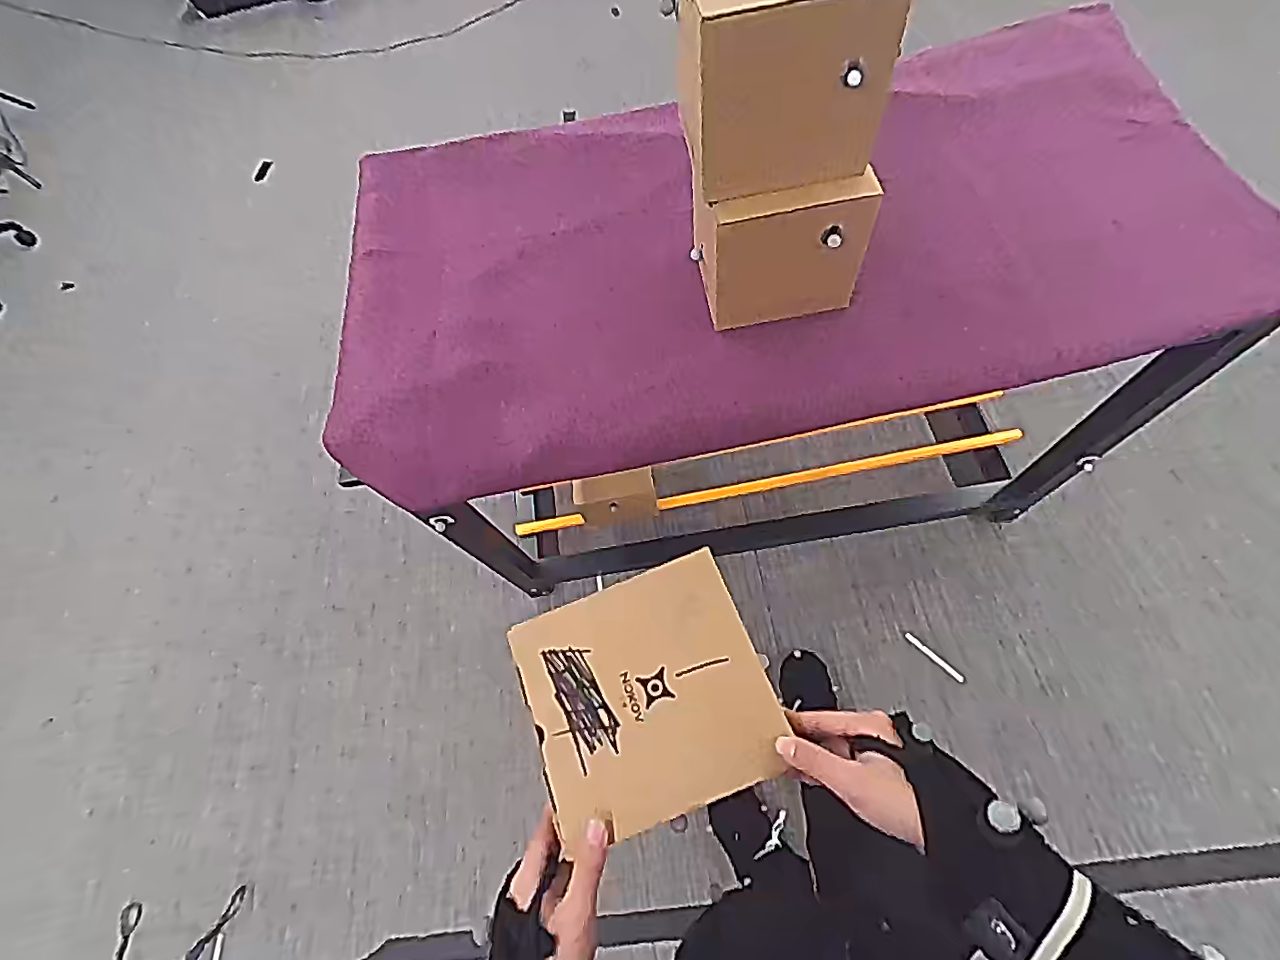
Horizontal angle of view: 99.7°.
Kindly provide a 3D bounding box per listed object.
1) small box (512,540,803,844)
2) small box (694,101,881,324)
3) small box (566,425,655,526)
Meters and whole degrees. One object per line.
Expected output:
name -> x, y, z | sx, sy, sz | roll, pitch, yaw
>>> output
small box -> 0.016, 0.179, 0.466 | 0.179, 0.176, 0.168 | -21, 65, -2
small box -> 0.164, -0.319, 0.668 | 0.179, 0.176, 0.168 | -9, 63, 3
small box -> -0.062, -0.005, 1.242 | 0.179, 0.176, 0.168 | -11, 67, 2
